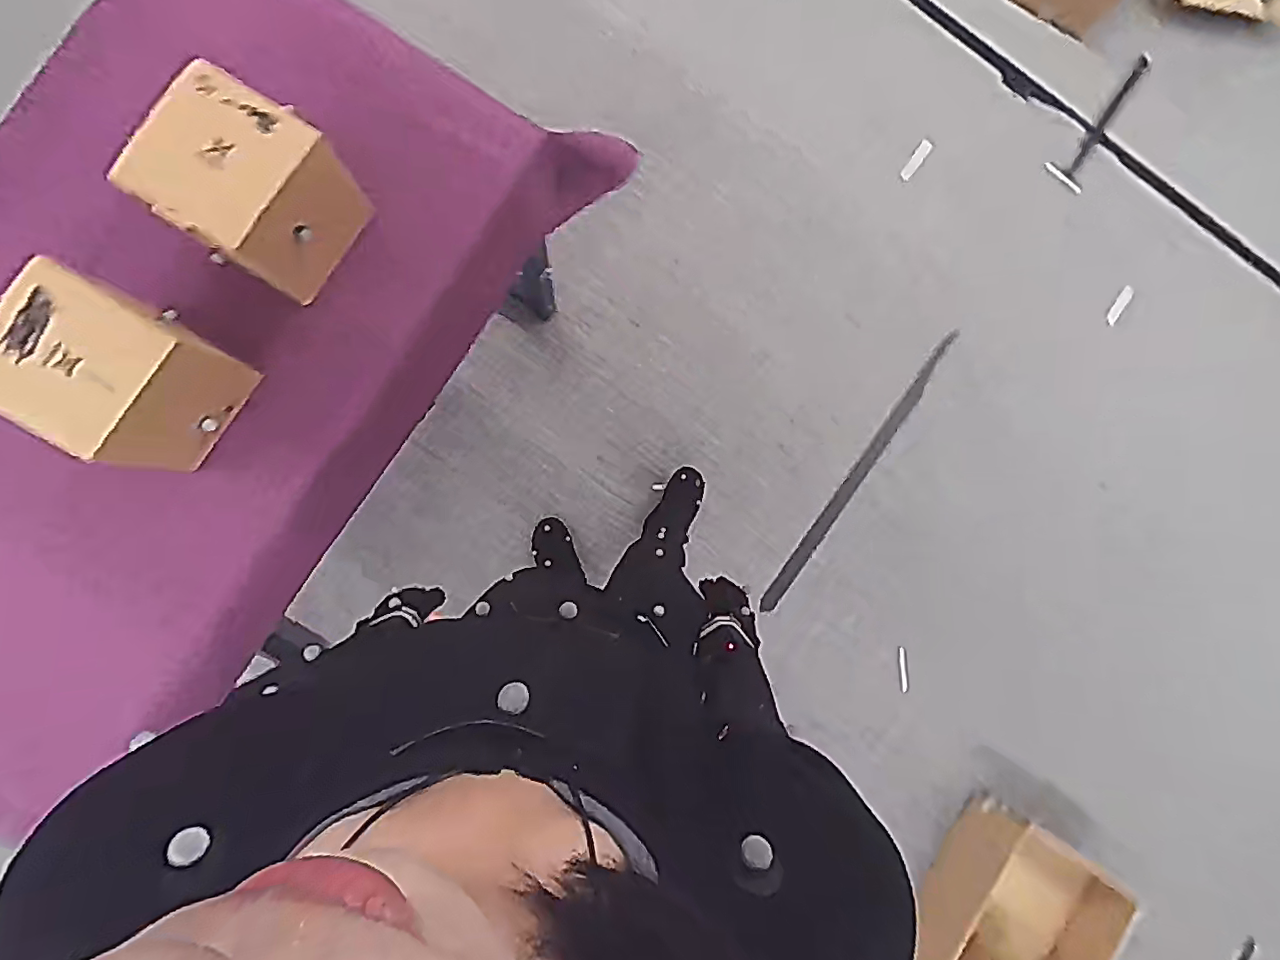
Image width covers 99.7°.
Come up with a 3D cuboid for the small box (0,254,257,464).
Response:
[{"bbox_3d":[-0.639,-0.132,0.669,0.179,0.176,0.168,32,84,-3],"label":"small box"}]

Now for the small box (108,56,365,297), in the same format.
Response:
[{"bbox_3d":[-0.496,-0.372,0.699,0.168,0.176,0.179,31,85,-3],"label":"small box"}]
